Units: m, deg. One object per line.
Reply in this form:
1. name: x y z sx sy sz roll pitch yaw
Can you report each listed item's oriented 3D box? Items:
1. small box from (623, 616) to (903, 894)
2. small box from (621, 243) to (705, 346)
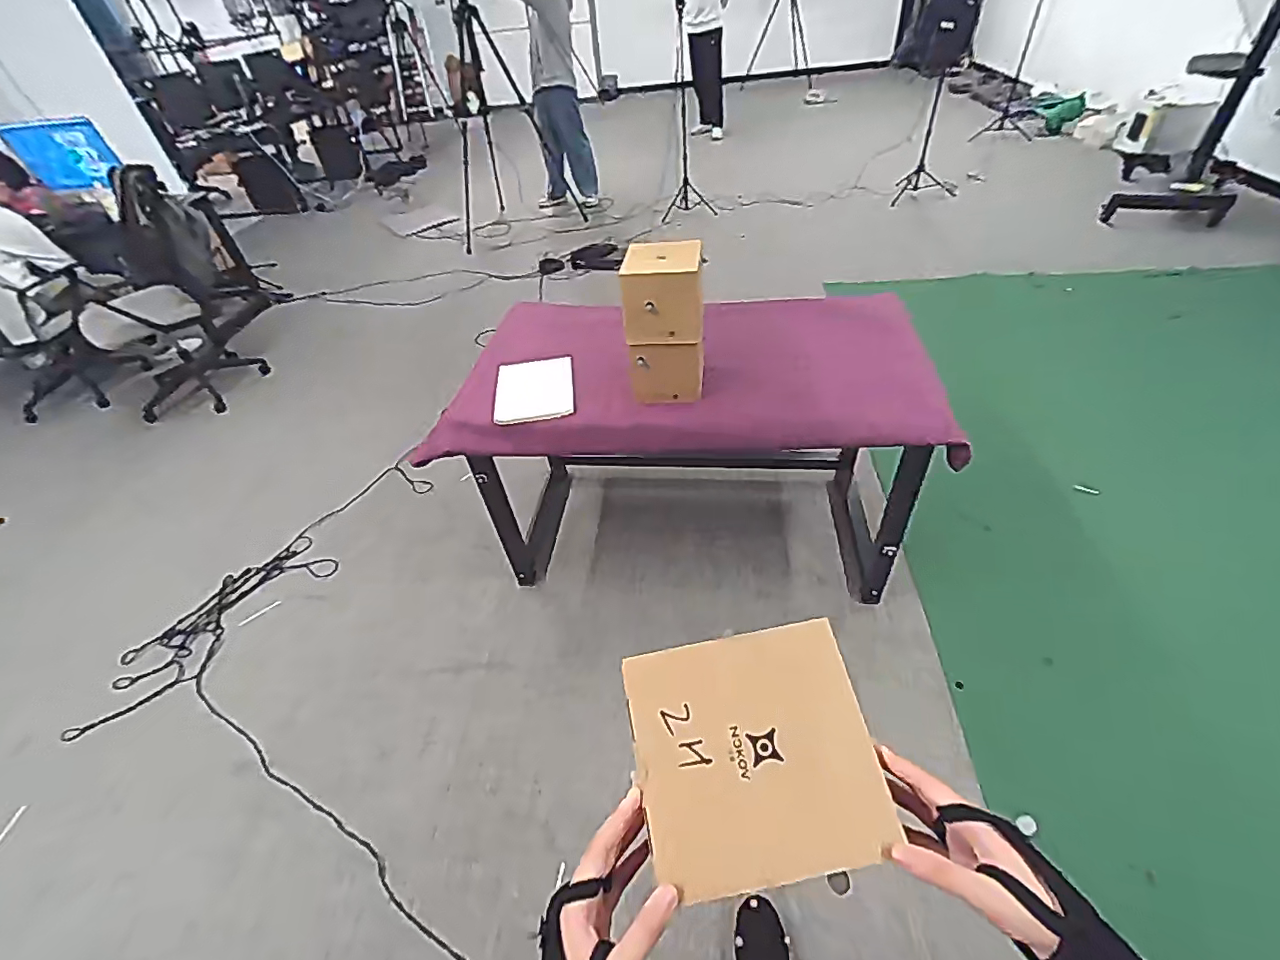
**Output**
1. small box: 0.087 0.233 0.471 0.179 0.176 0.168 -11 59 -1
2. small box: 0.060 -0.415 1.221 0.168 0.176 0.179 1 42 9
